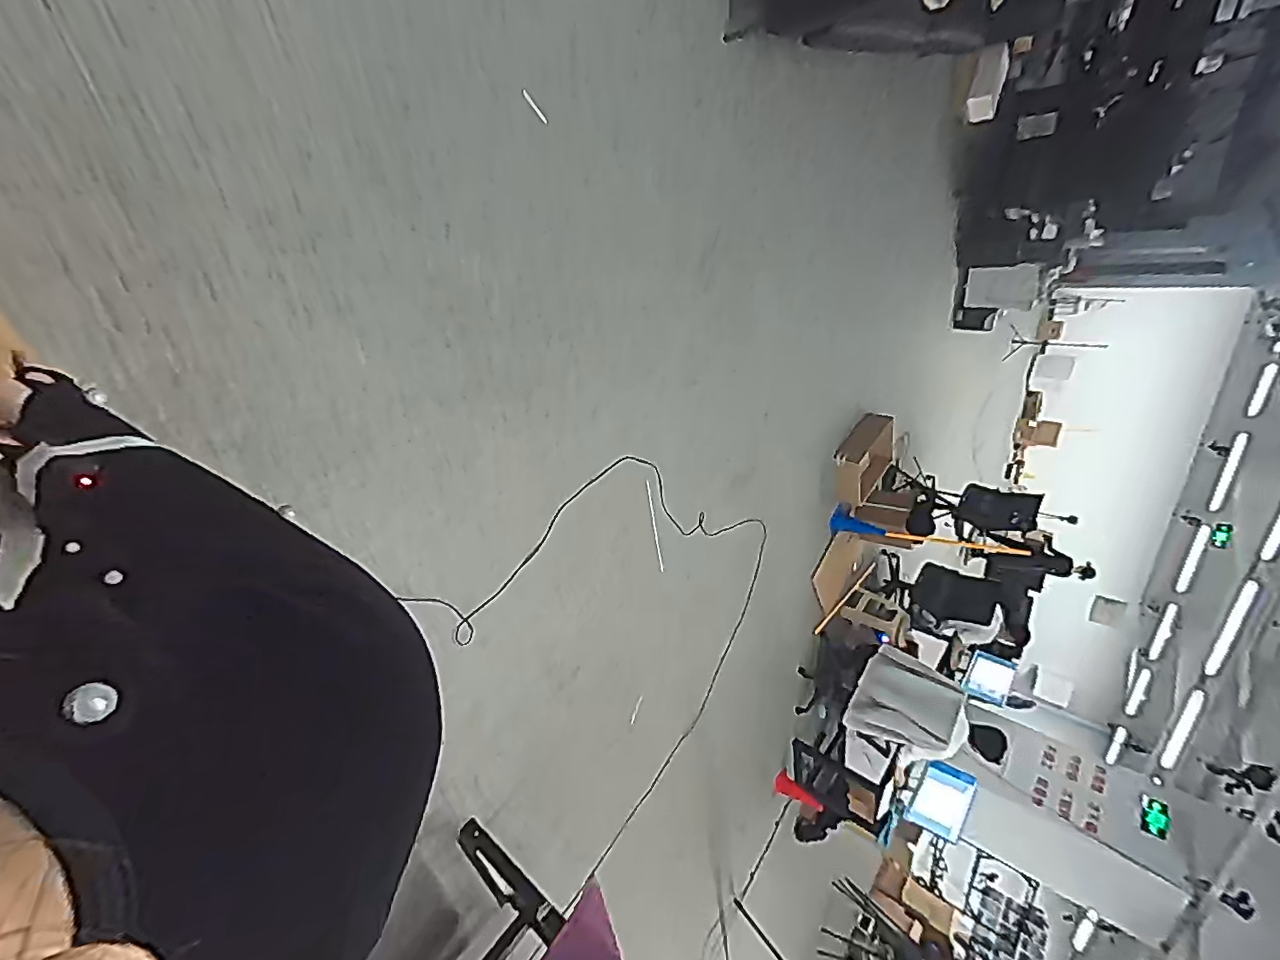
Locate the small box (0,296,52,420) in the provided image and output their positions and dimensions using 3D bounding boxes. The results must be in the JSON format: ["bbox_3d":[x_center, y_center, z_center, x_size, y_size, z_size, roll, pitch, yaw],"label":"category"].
[{"bbox_3d":[-0.681,-0.132,0.475,0.168,0.176,0.179,-34,130,-29],"label":"small box"}]
